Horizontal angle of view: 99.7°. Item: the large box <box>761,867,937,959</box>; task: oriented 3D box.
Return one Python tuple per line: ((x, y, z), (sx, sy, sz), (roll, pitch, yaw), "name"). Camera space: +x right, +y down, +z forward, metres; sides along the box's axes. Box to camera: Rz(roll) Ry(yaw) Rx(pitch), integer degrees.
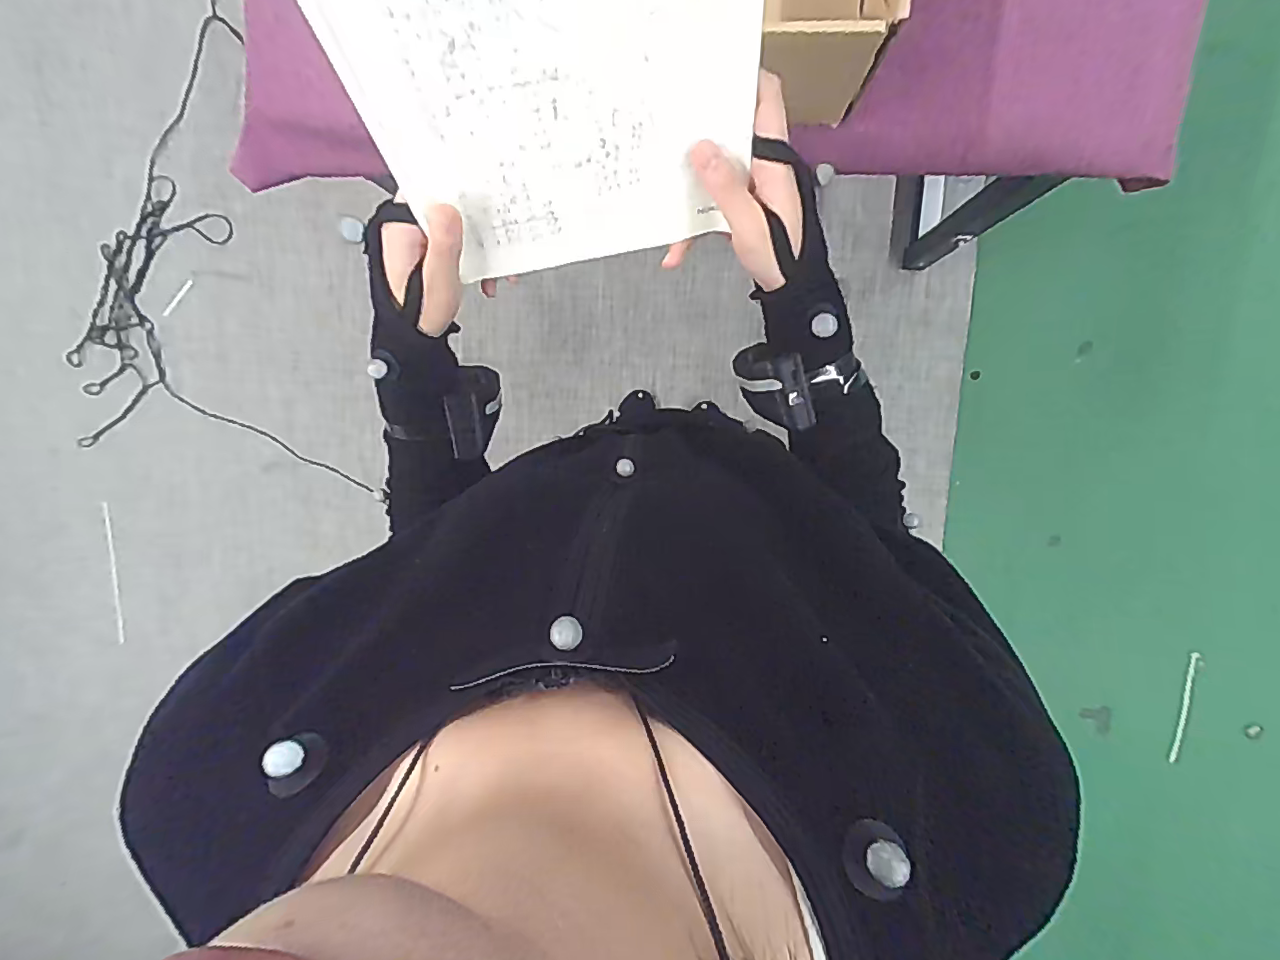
((0.577, 1.346, 1.486), (0.408, 0.320, 0.320), (-11, 97, 6), "large box")
